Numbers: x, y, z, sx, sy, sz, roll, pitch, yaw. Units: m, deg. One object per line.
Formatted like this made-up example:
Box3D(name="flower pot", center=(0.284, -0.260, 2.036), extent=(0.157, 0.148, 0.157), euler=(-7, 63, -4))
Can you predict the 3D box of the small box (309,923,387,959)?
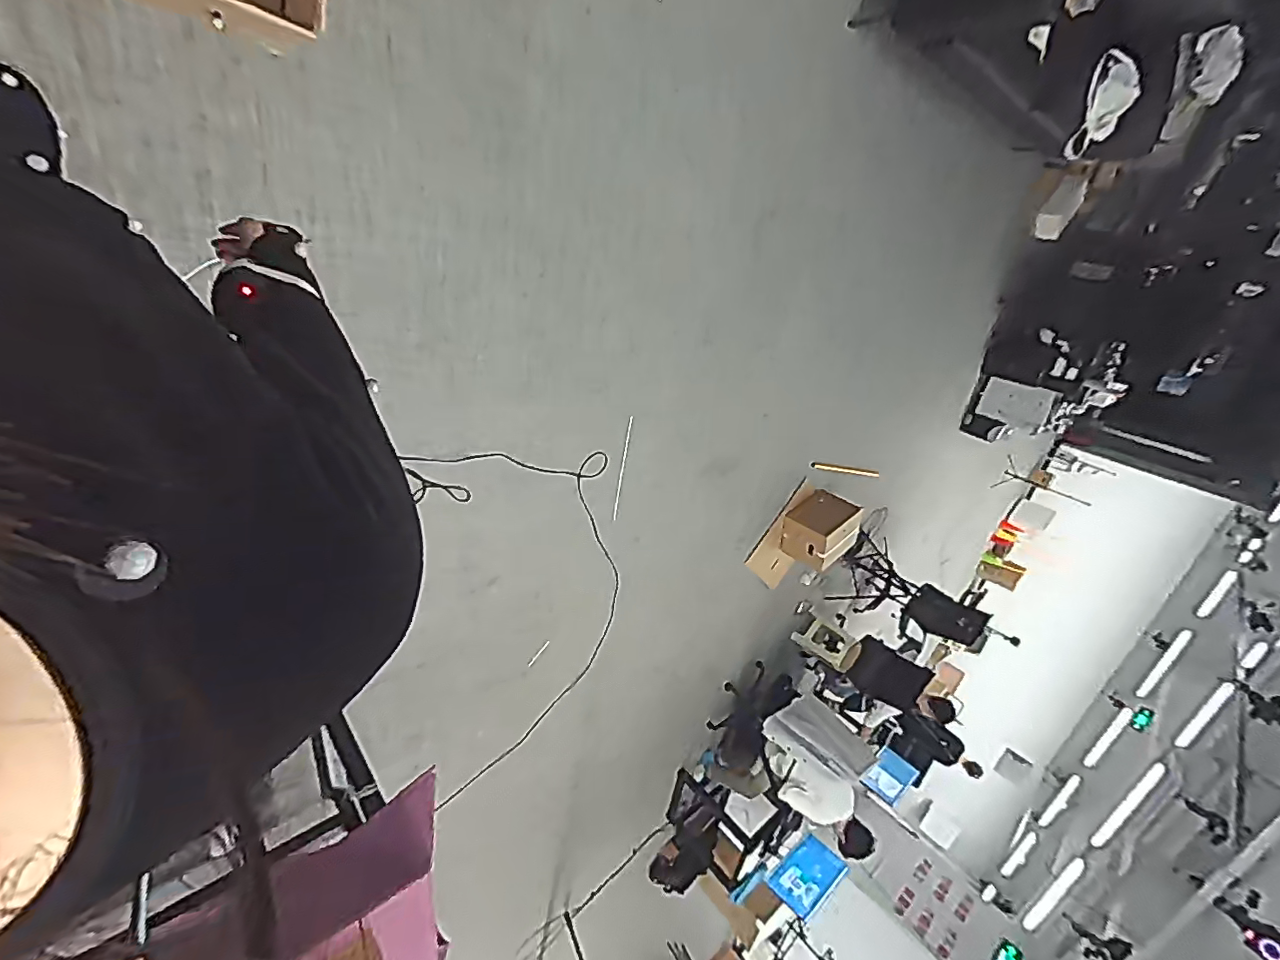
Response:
Box3D(name="small box", center=(-0.649, 1.145, 1.201), extent=(0.168, 0.176, 0.179), euler=(-17, 128, -39))
